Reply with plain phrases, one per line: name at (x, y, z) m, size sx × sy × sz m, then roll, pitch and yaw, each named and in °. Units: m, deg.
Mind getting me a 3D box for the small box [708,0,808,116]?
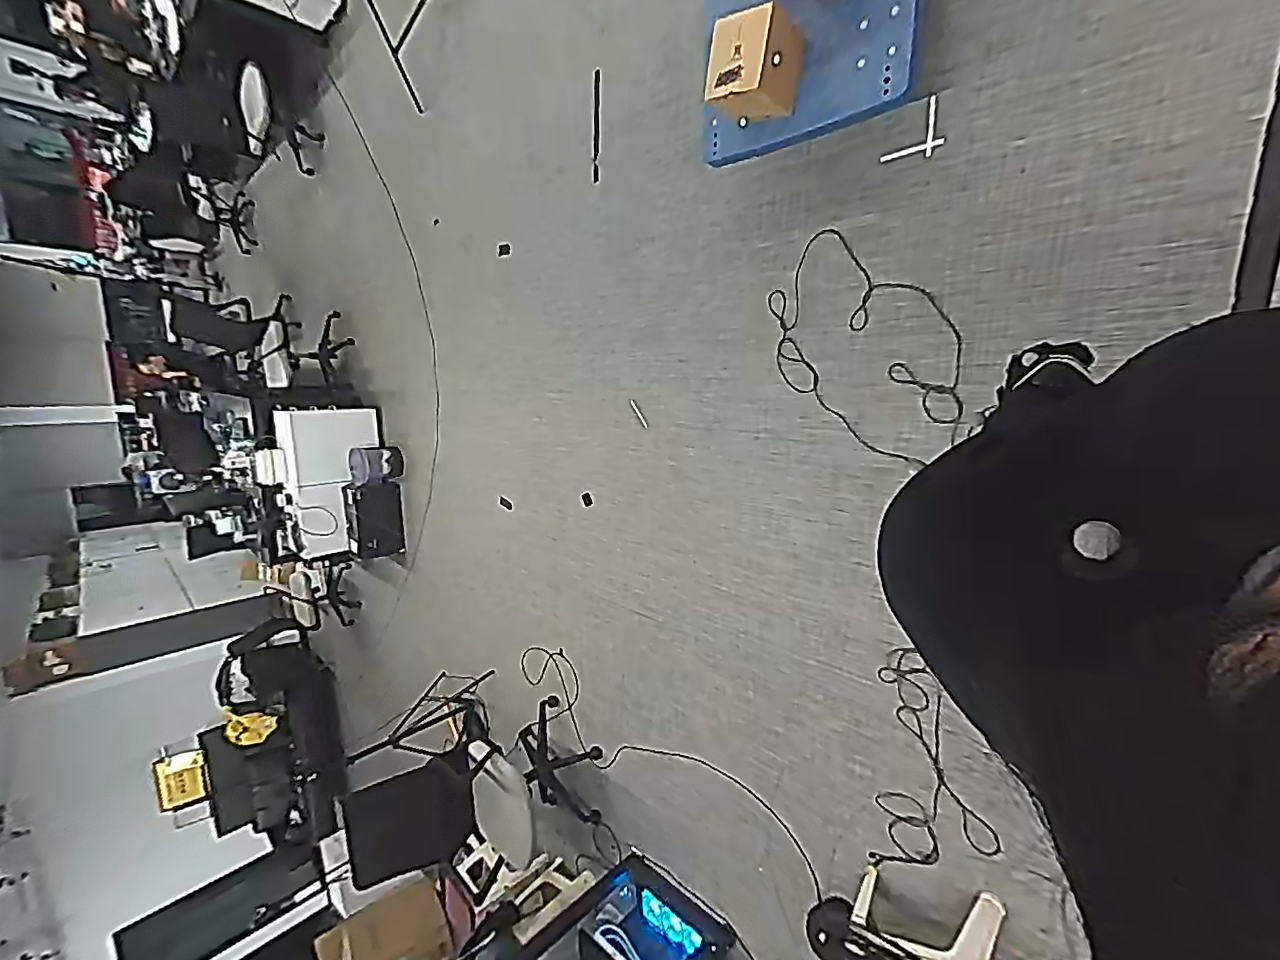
small box at (0.296, -1.038, 1.350) m, size 0.168 × 0.176 × 0.179 m, roll 22°, pitch 111°, yaw 40°
